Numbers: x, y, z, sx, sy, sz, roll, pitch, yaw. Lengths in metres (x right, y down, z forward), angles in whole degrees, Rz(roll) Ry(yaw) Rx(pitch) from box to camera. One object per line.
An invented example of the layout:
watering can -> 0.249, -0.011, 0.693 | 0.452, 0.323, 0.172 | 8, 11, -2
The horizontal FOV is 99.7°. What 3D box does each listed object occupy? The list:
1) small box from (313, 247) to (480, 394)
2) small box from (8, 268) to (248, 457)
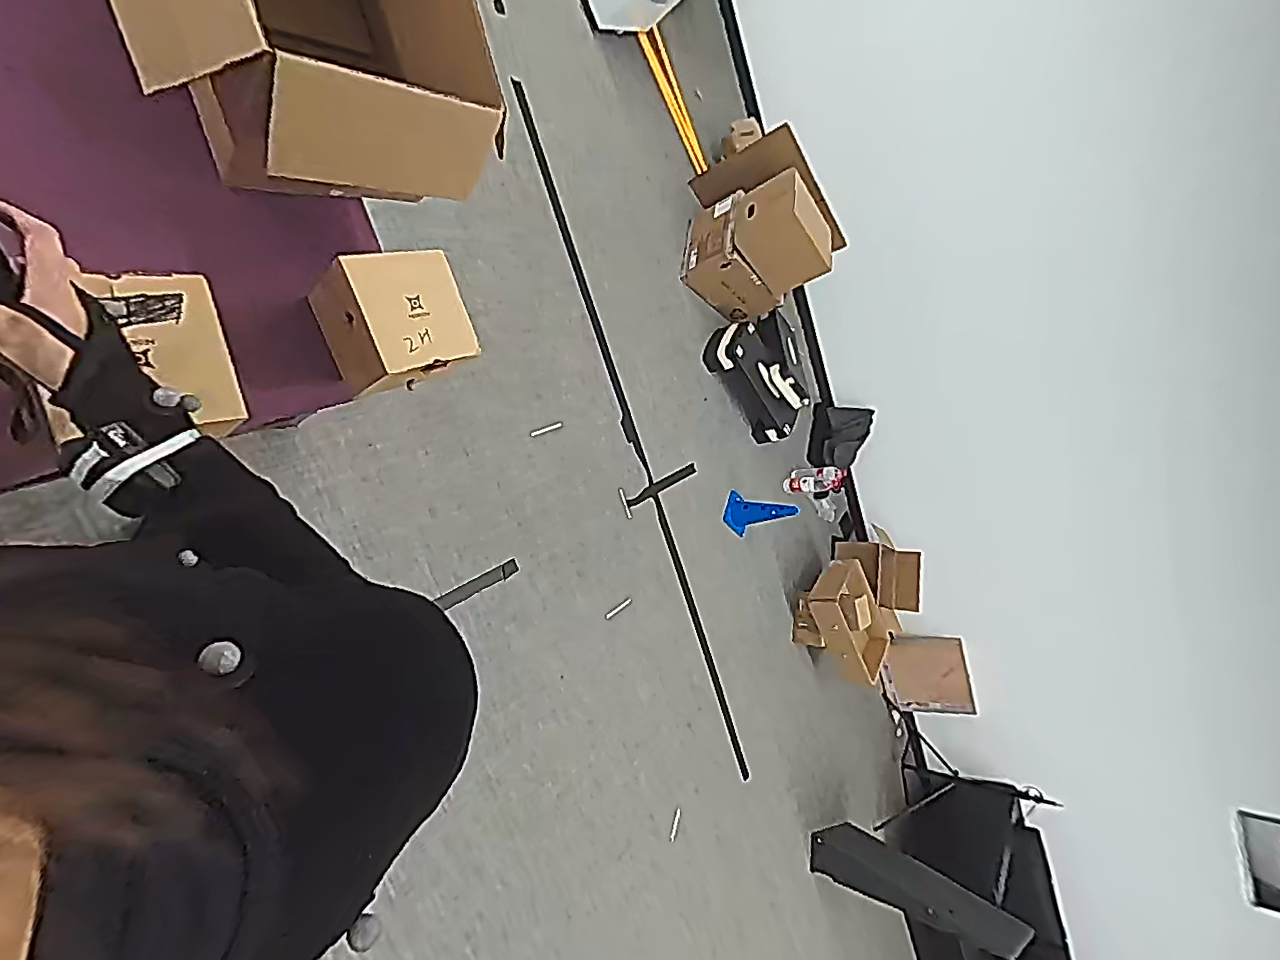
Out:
small box -> -0.399, -0.256, 0.880 | 0.168, 0.176, 0.179 | -29, 105, -43
small box -> -0.609, -0.135, 0.652 | 0.168, 0.176, 0.179 | -19, 99, -45
